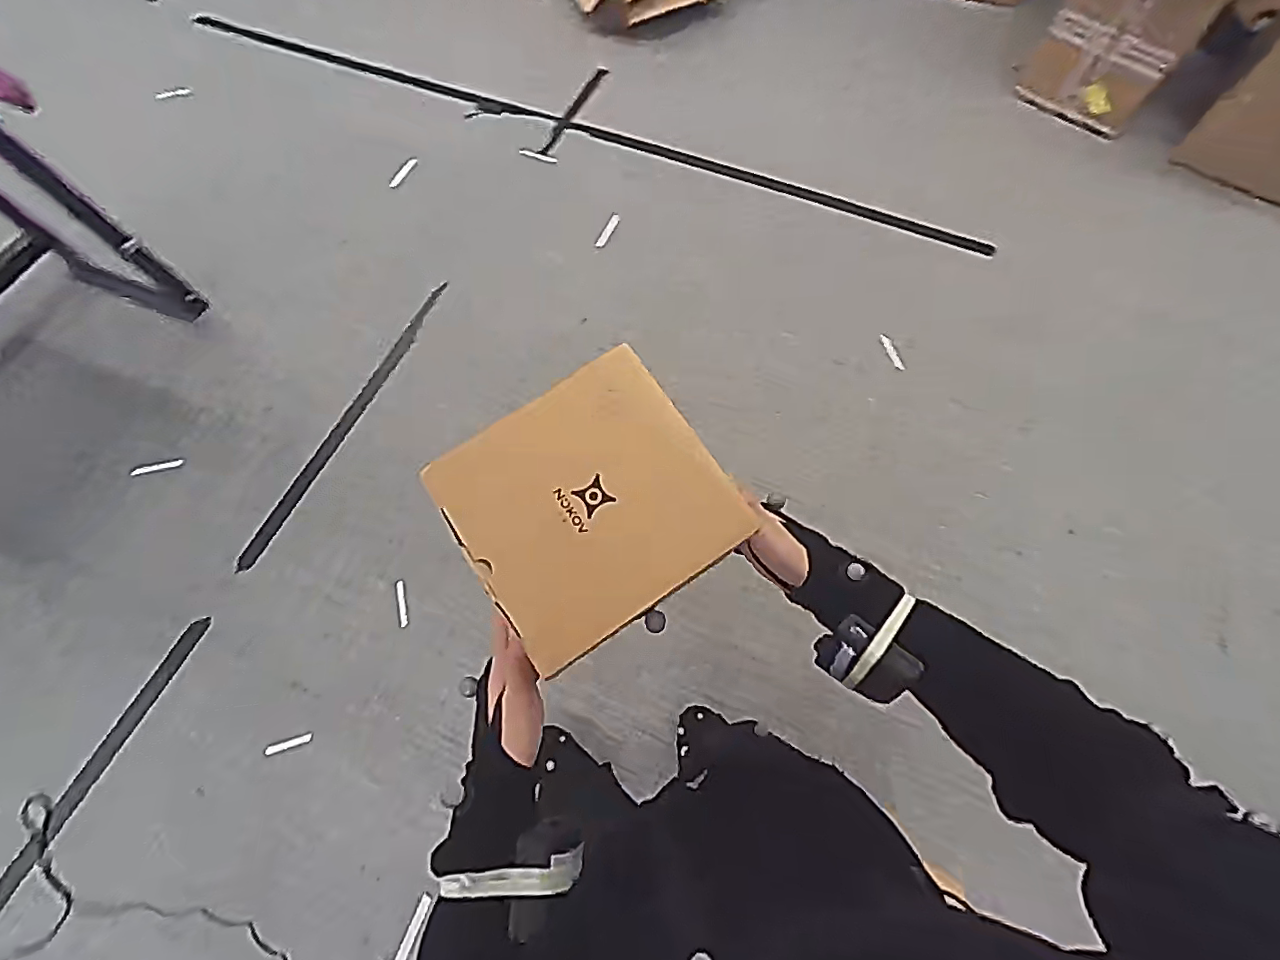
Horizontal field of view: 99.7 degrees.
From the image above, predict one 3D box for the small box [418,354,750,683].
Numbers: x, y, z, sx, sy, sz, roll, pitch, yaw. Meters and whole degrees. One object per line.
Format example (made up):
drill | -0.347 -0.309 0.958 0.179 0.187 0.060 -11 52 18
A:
small box | -0.039 0.035 0.447 0.179 0.176 0.168 -35 79 -5
